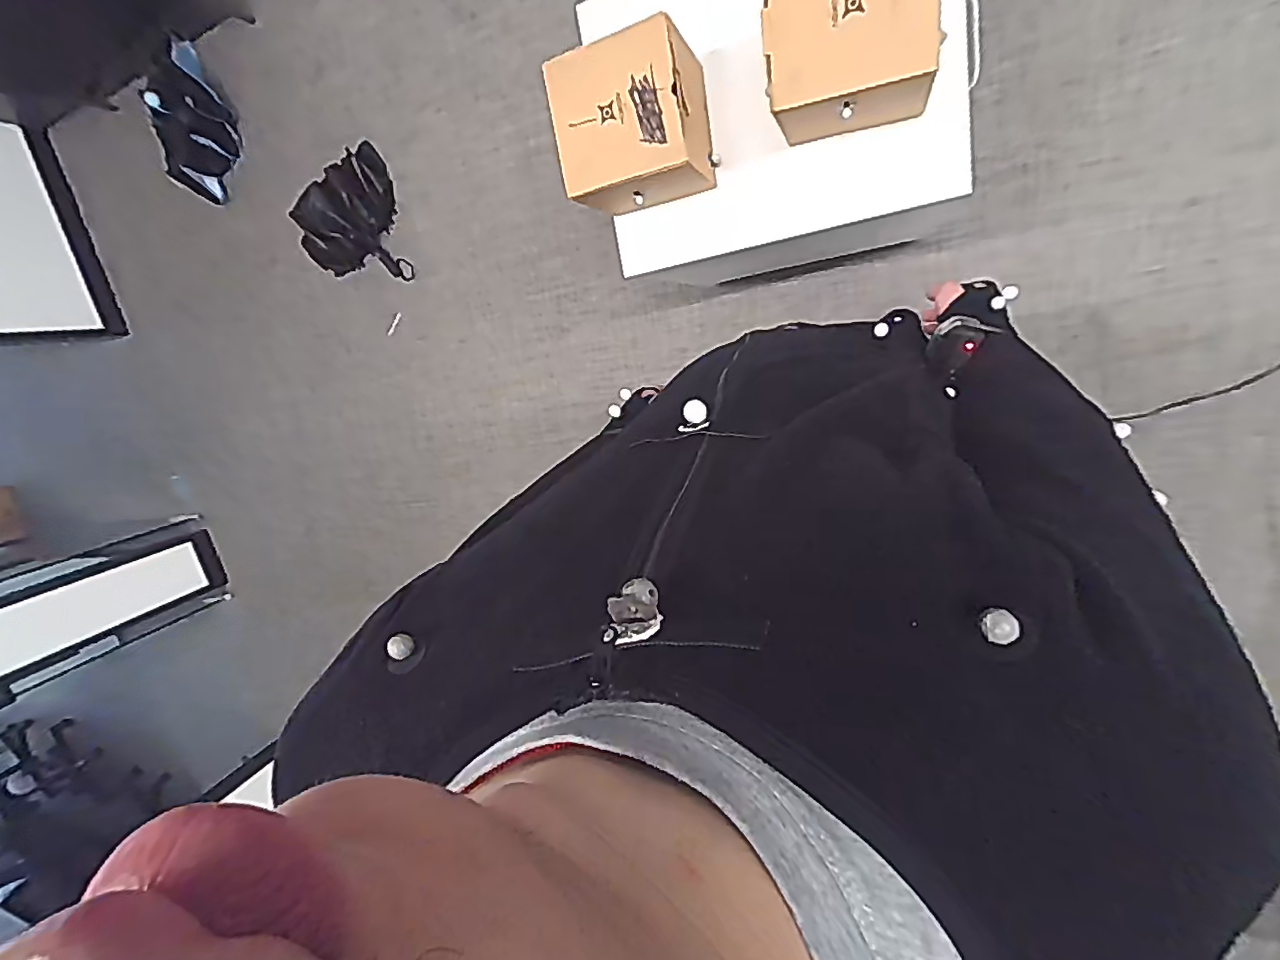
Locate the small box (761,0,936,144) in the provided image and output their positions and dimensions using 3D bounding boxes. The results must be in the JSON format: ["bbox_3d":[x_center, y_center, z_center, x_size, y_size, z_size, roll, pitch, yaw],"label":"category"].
[{"bbox_3d":[0.249,-0.527,0.646,0.179,0.176,0.168,0,108,22],"label":"small box"}]

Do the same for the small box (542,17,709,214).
[{"bbox_3d":[-0.007,-0.490,0.760,0.179,0.176,0.168,-4,105,23],"label":"small box"}]
